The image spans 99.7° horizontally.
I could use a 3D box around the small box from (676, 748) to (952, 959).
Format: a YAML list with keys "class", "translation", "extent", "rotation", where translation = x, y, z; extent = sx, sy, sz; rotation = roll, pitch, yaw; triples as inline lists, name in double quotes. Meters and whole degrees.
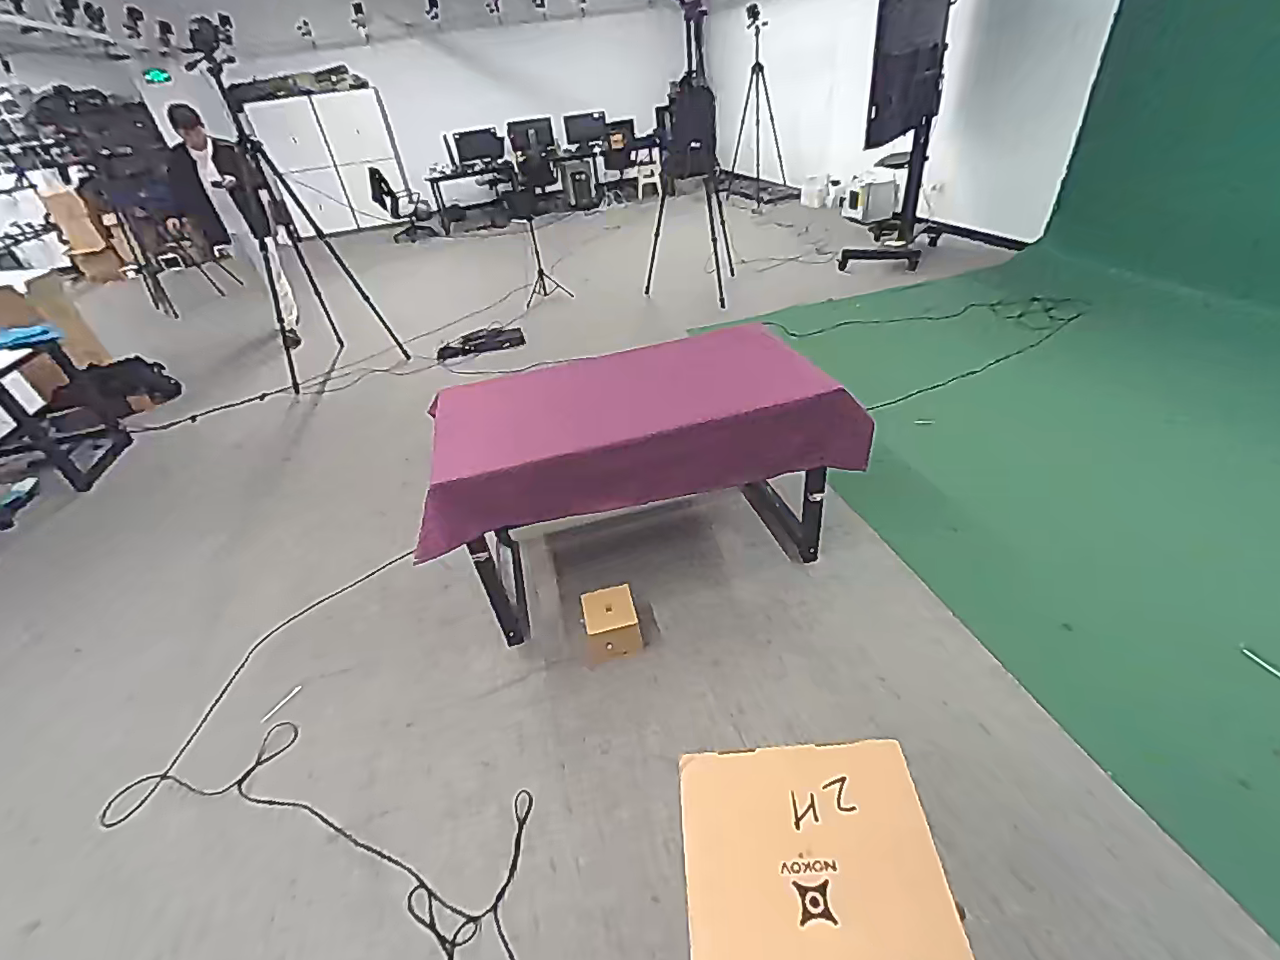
- class: "small box"
  translation: [0.122, 0.329, 0.413]
  extent: [0.168, 0.176, 0.179]
  rotation: [-7, 44, 6]
